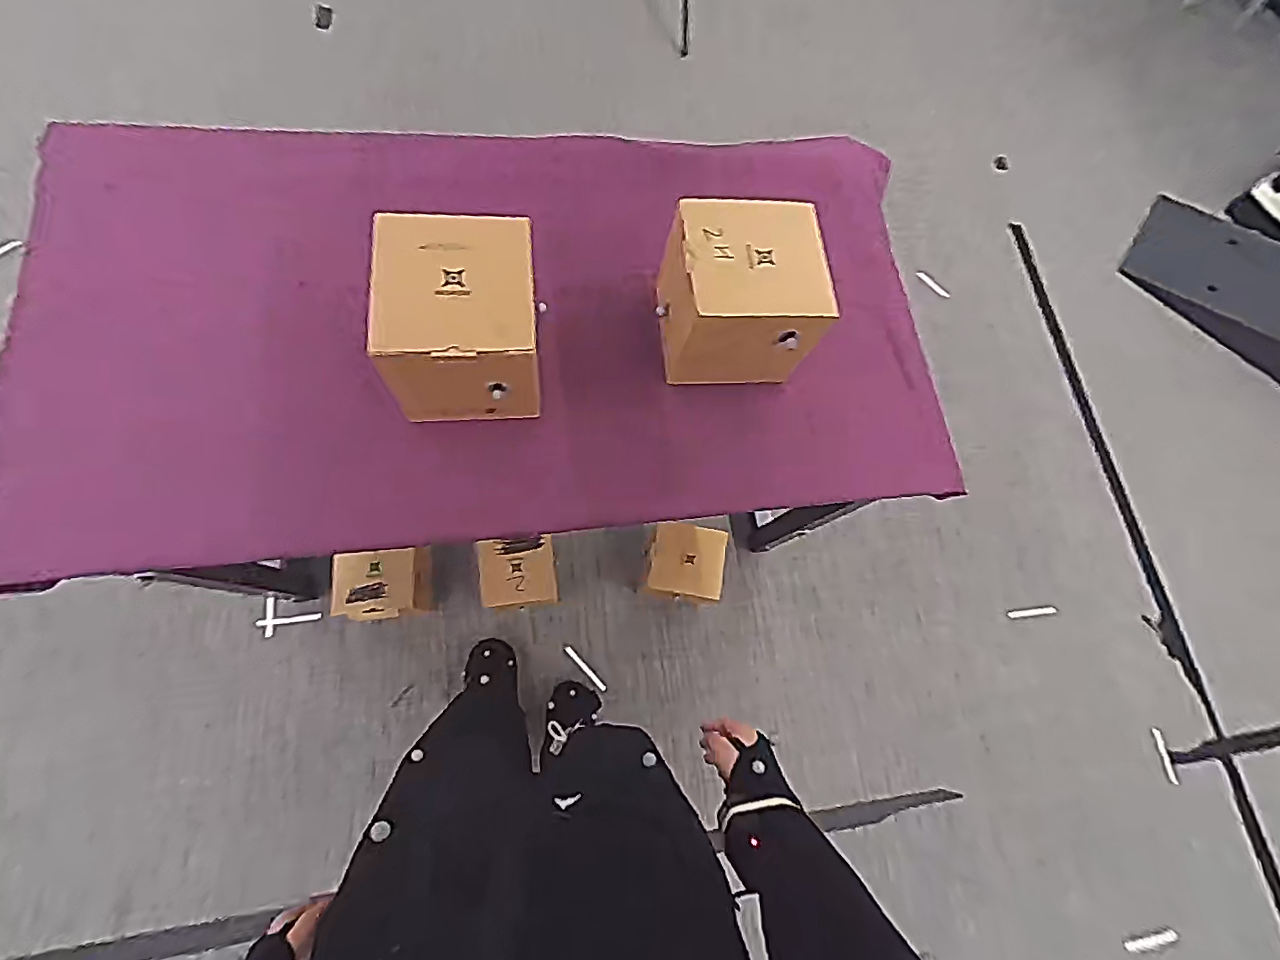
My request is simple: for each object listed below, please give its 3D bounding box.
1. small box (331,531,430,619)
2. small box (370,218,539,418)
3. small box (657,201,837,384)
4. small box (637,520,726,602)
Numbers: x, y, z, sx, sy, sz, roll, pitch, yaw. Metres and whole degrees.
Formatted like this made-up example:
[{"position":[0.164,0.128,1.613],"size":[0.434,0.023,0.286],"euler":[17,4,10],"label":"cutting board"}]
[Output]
[{"position":[-0.583,0.222,1.236],"size":[0.168,0.176,0.179],"euler":[-4,73,-10],"label":"small box"},{"position":[-0.209,-0.182,0.649],"size":[0.168,0.176,0.179],"euler":[-3,72,-11],"label":"small box"},{"position":[0.128,-0.238,0.717],"size":[0.179,0.176,0.168],"euler":[-3,73,-9],"label":"small box"},{"position":[0.099,0.209,1.349],"size":[0.179,0.176,0.168],"euler":[11,72,-5],"label":"small box"}]
